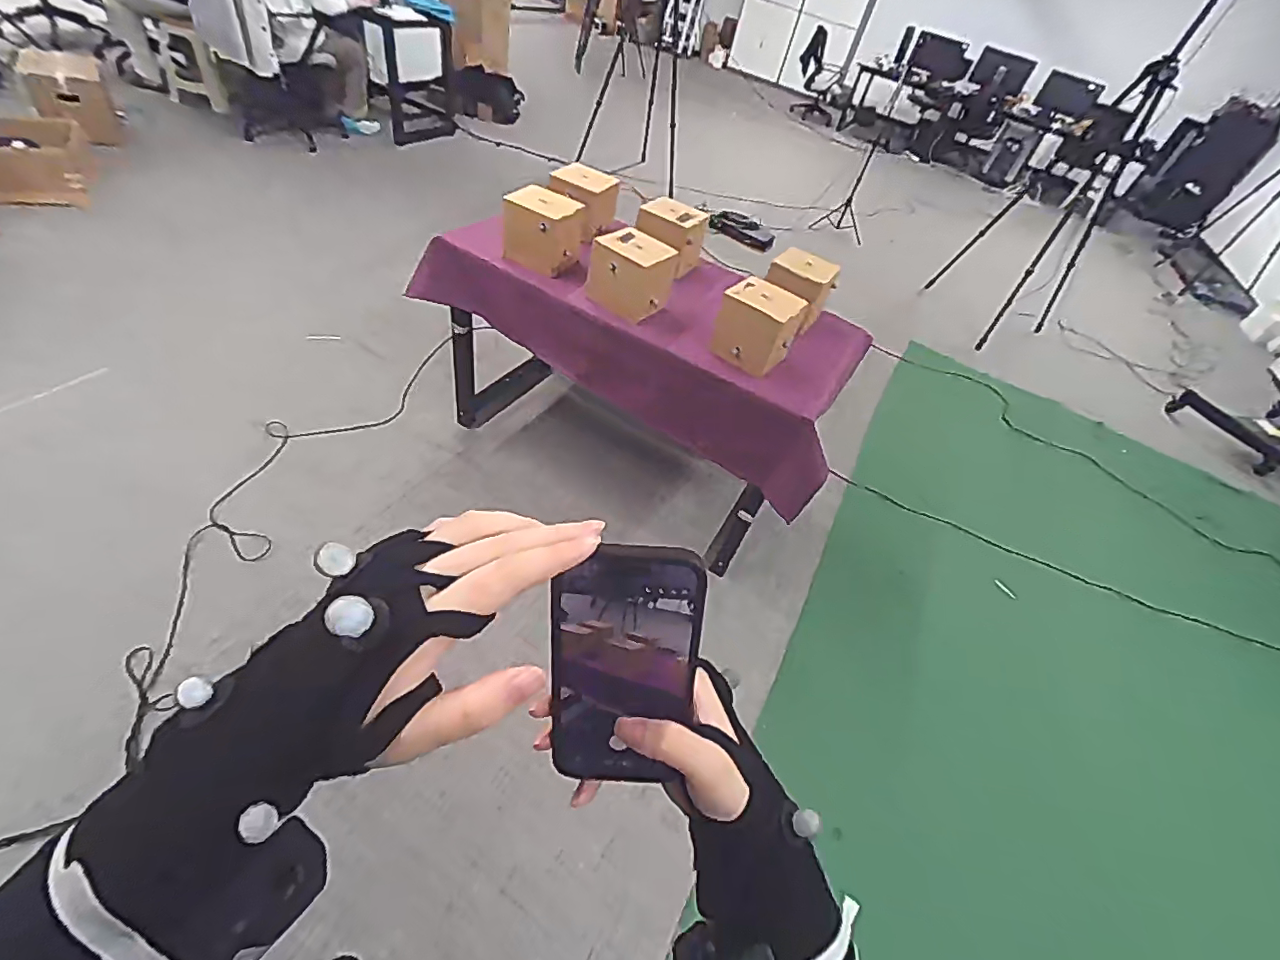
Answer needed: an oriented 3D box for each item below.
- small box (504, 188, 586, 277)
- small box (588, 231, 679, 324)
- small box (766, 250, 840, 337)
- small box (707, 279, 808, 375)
[{"bbox_3d":[-0.282,-0.718,1.574,0.179,0.176,0.168,26,45,8],"label":"small box"},{"bbox_3d":[-0.023,-0.560,1.496,0.179,0.176,0.168,35,48,16],"label":"small box"},{"bbox_3d":[0.474,-0.567,1.645,0.168,0.176,0.179,32,48,16],"label":"small box"},{"bbox_3d":[0.307,-0.400,1.438,0.179,0.176,0.168,35,47,17],"label":"small box"}]
